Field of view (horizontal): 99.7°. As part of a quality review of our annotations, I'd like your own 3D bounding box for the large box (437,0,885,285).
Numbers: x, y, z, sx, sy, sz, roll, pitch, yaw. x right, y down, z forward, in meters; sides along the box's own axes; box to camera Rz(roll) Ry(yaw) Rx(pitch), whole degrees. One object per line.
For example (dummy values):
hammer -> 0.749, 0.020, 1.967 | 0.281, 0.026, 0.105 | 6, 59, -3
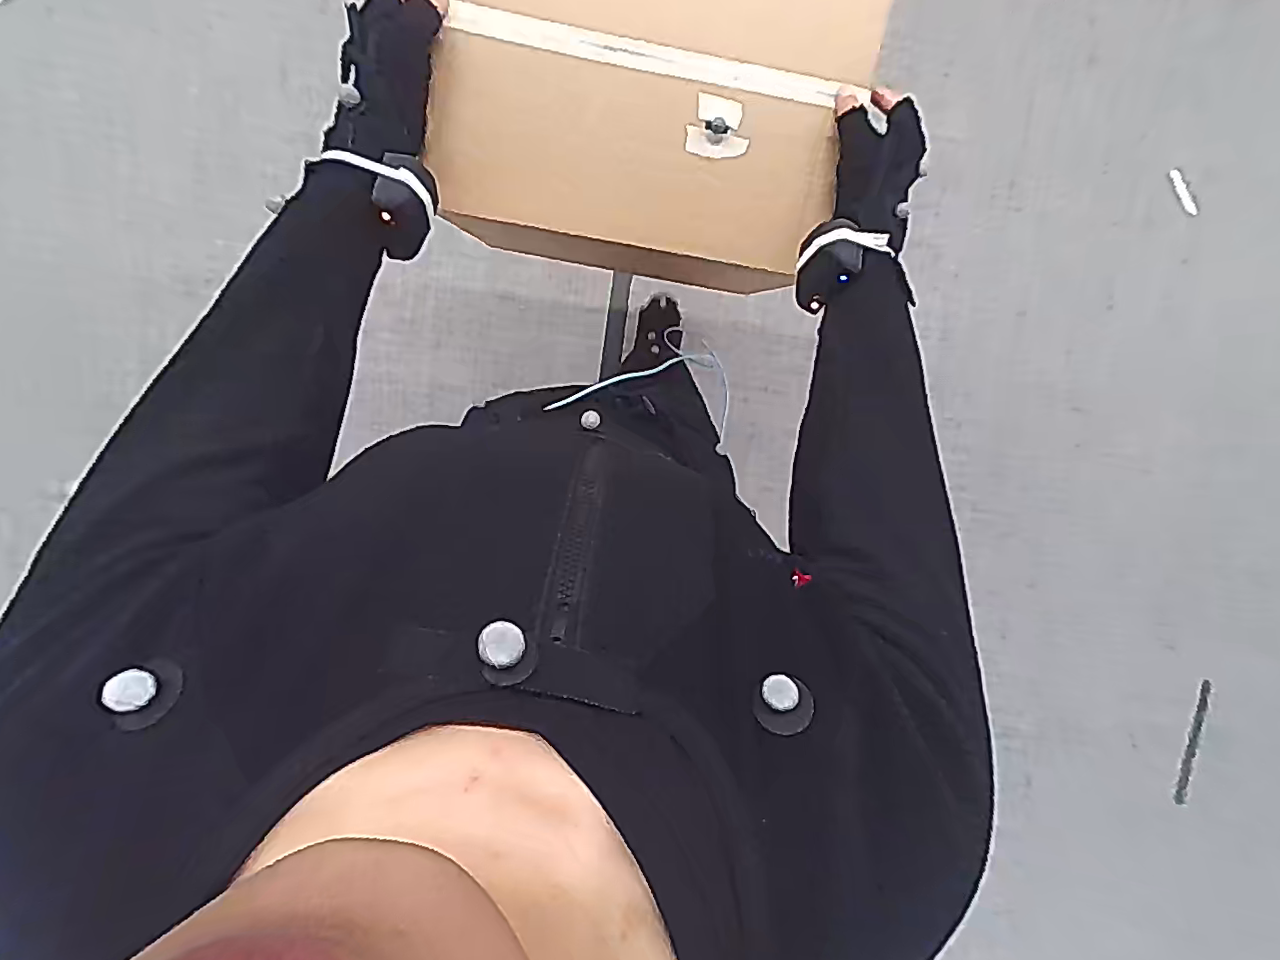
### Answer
large box -> 0.008, -0.431, 0.644 | 0.408, 0.320, 0.320 | 8, 106, -6
